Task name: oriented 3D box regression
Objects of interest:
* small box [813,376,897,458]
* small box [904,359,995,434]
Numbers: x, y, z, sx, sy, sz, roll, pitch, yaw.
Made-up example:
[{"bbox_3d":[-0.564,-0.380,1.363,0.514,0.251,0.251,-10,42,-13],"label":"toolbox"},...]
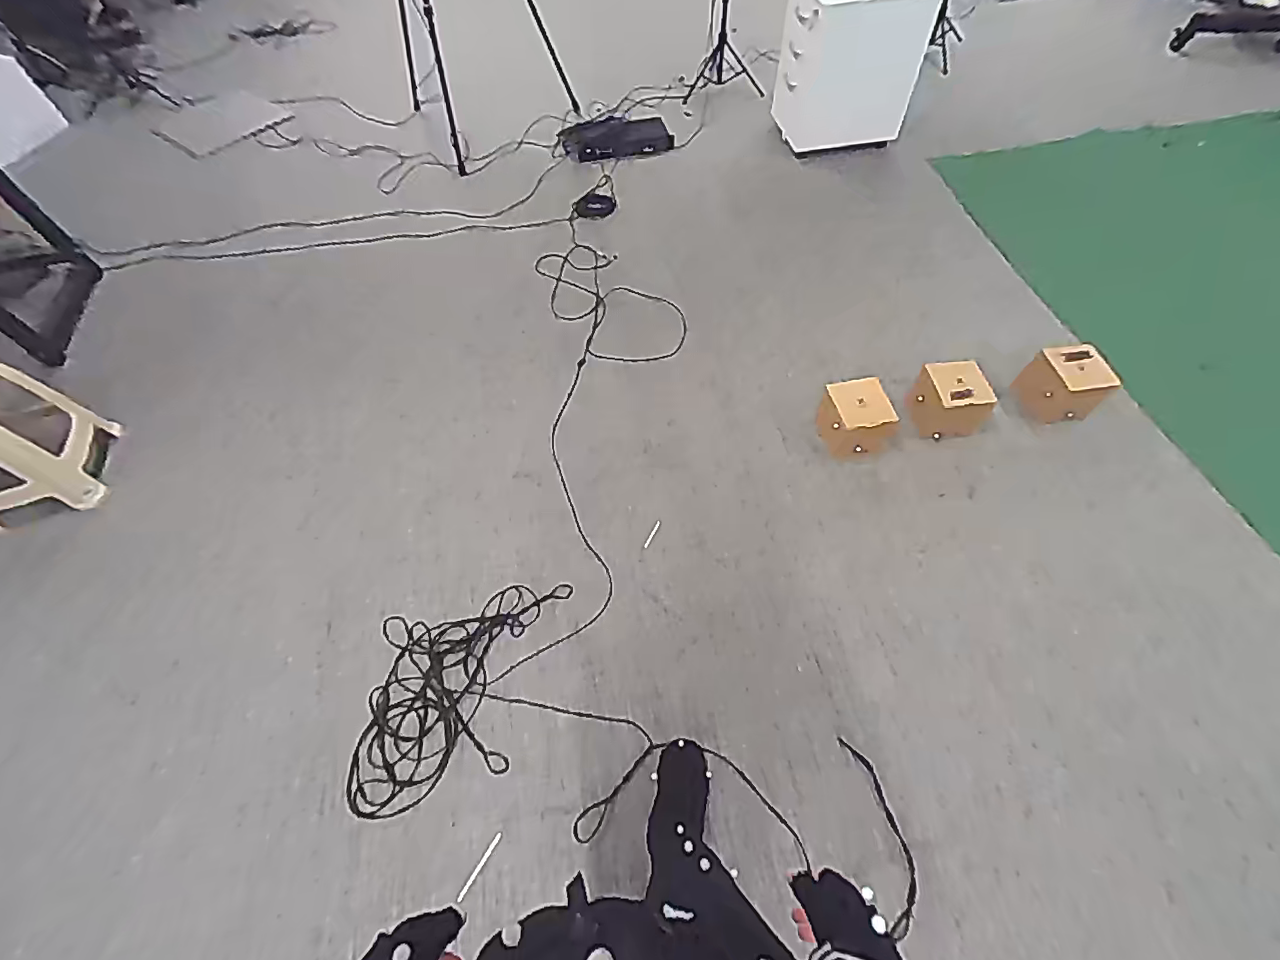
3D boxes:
[{"bbox_3d":[0.660,-0.195,1.684,0.168,0.176,0.179,-11,59,-4],"label":"small box"},{"bbox_3d":[0.967,-0.257,1.708,0.168,0.176,0.179,-5,57,-1],"label":"small box"}]
